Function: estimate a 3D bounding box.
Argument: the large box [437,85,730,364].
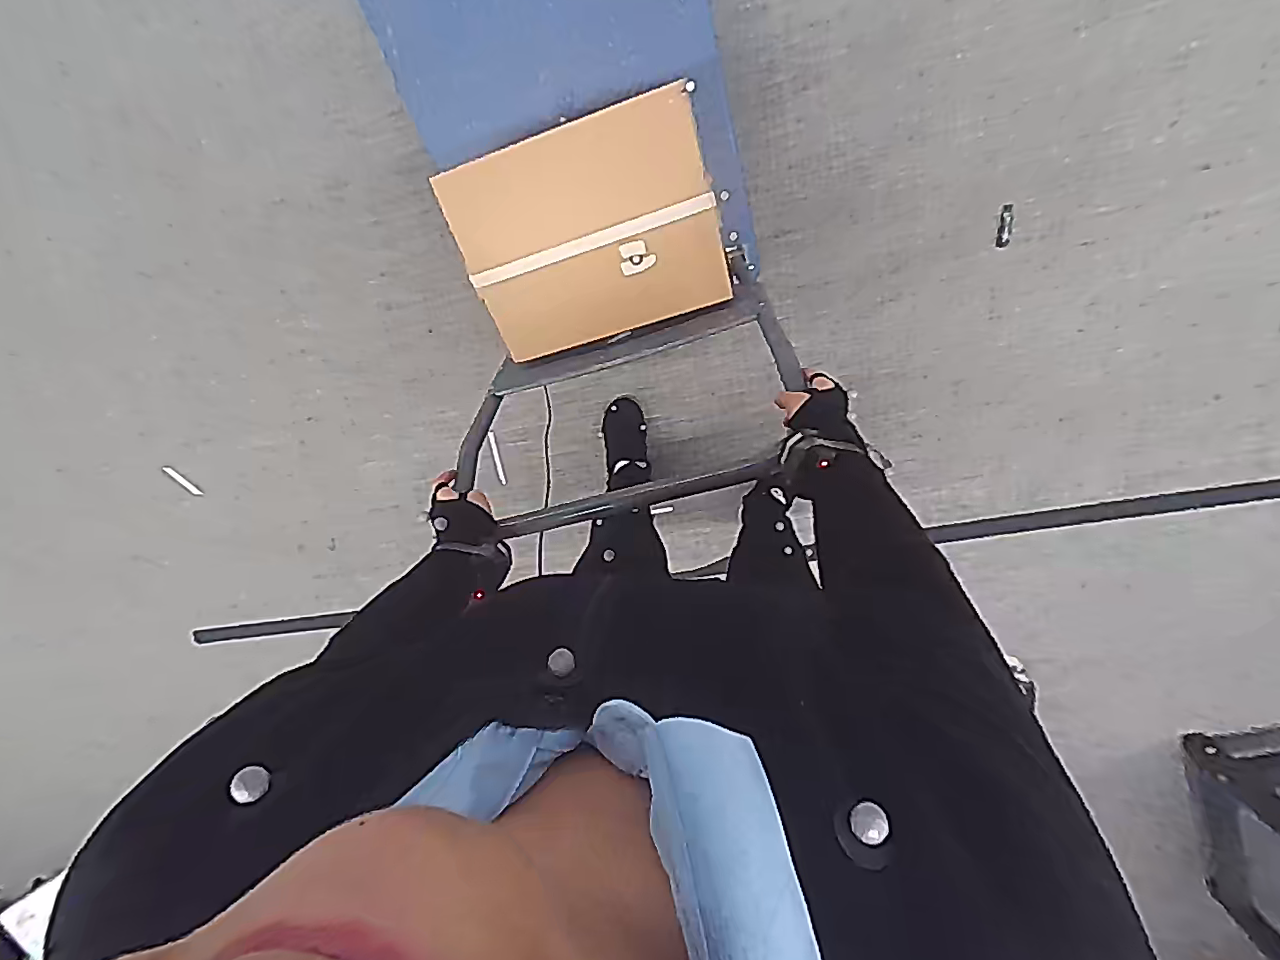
[{"bbox_3d":[-0.081,-0.461,0.995,0.408,0.320,0.320,-15,123,10],"label":"large box"}]
